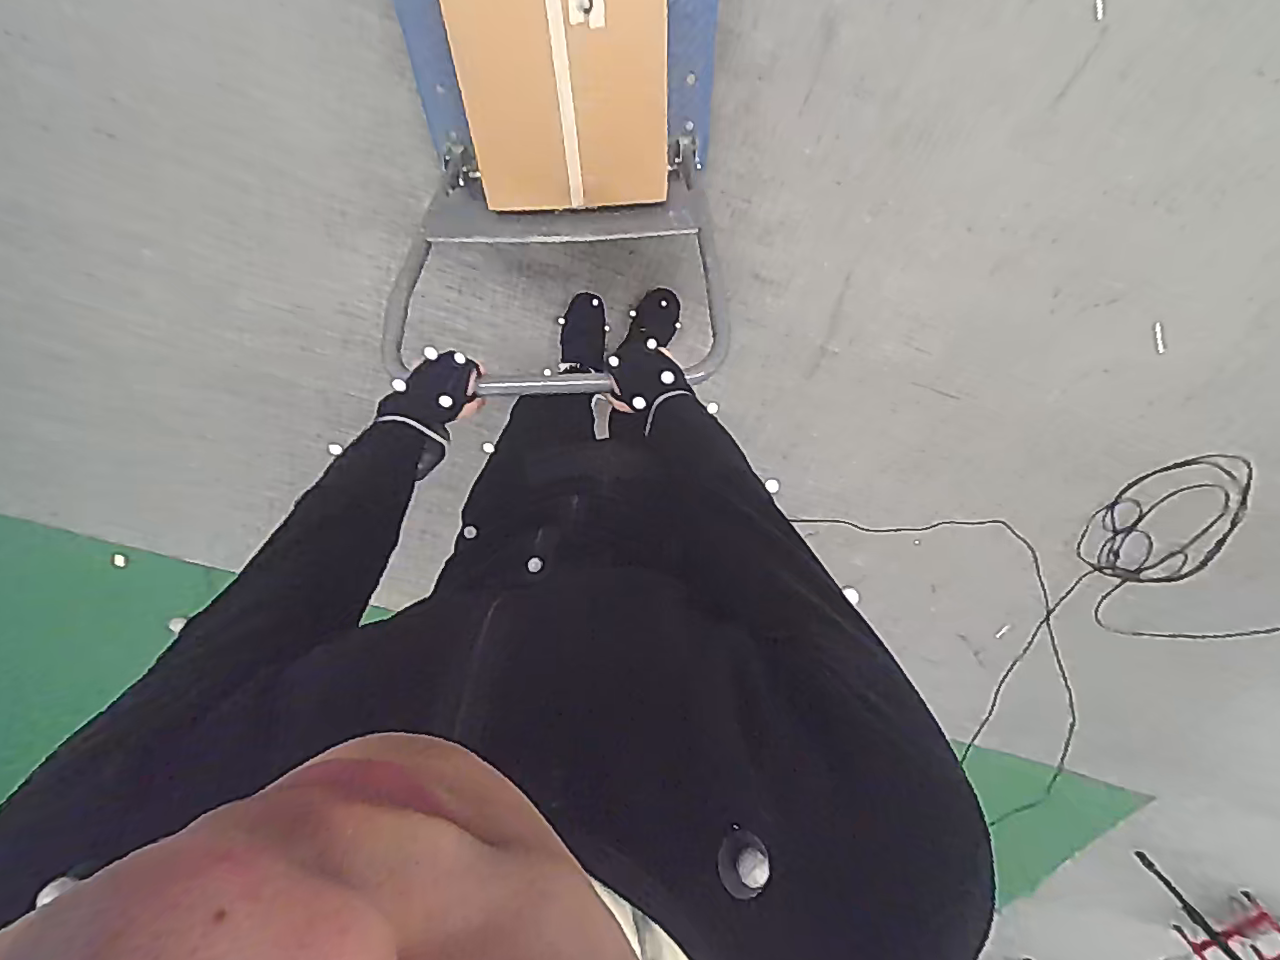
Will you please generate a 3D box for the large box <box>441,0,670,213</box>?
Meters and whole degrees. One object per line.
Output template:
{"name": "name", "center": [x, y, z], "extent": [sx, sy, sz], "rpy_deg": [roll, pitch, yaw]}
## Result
{"name": "large box", "center": [-0.118, -0.720, 0.902], "extent": [0.320, 0.320, 0.408], "rpy_deg": [-4, 137, 1]}
